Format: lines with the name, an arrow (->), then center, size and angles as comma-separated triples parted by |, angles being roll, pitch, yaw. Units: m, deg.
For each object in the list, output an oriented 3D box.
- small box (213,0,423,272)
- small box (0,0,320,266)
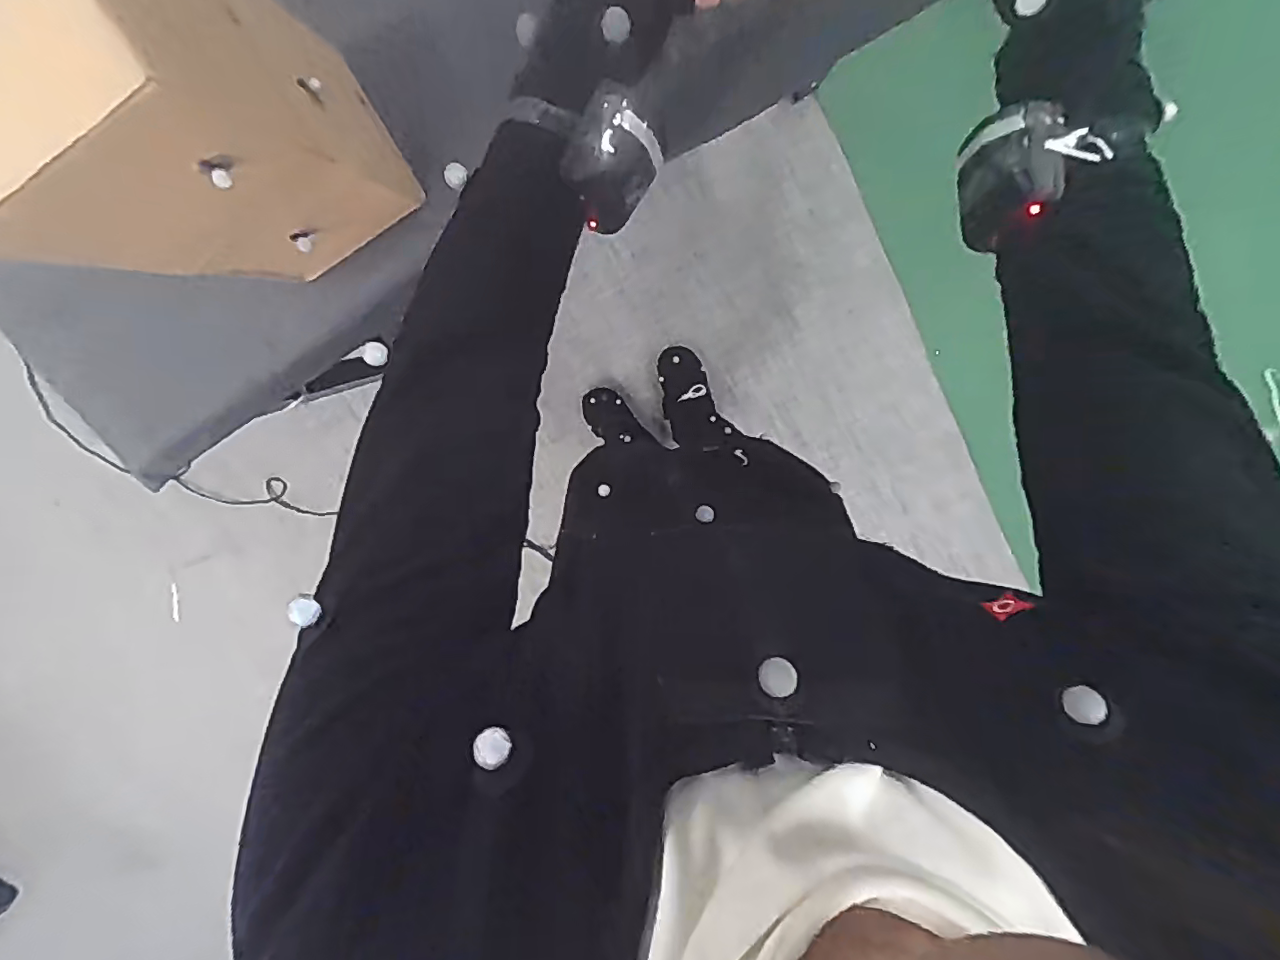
small box -> -0.351, -0.319, 0.522 | 0.179, 0.176, 0.168 | -27, 103, 12
small box -> -0.360, -0.269, 0.367 | 0.179, 0.176, 0.168 | -28, 102, 12
